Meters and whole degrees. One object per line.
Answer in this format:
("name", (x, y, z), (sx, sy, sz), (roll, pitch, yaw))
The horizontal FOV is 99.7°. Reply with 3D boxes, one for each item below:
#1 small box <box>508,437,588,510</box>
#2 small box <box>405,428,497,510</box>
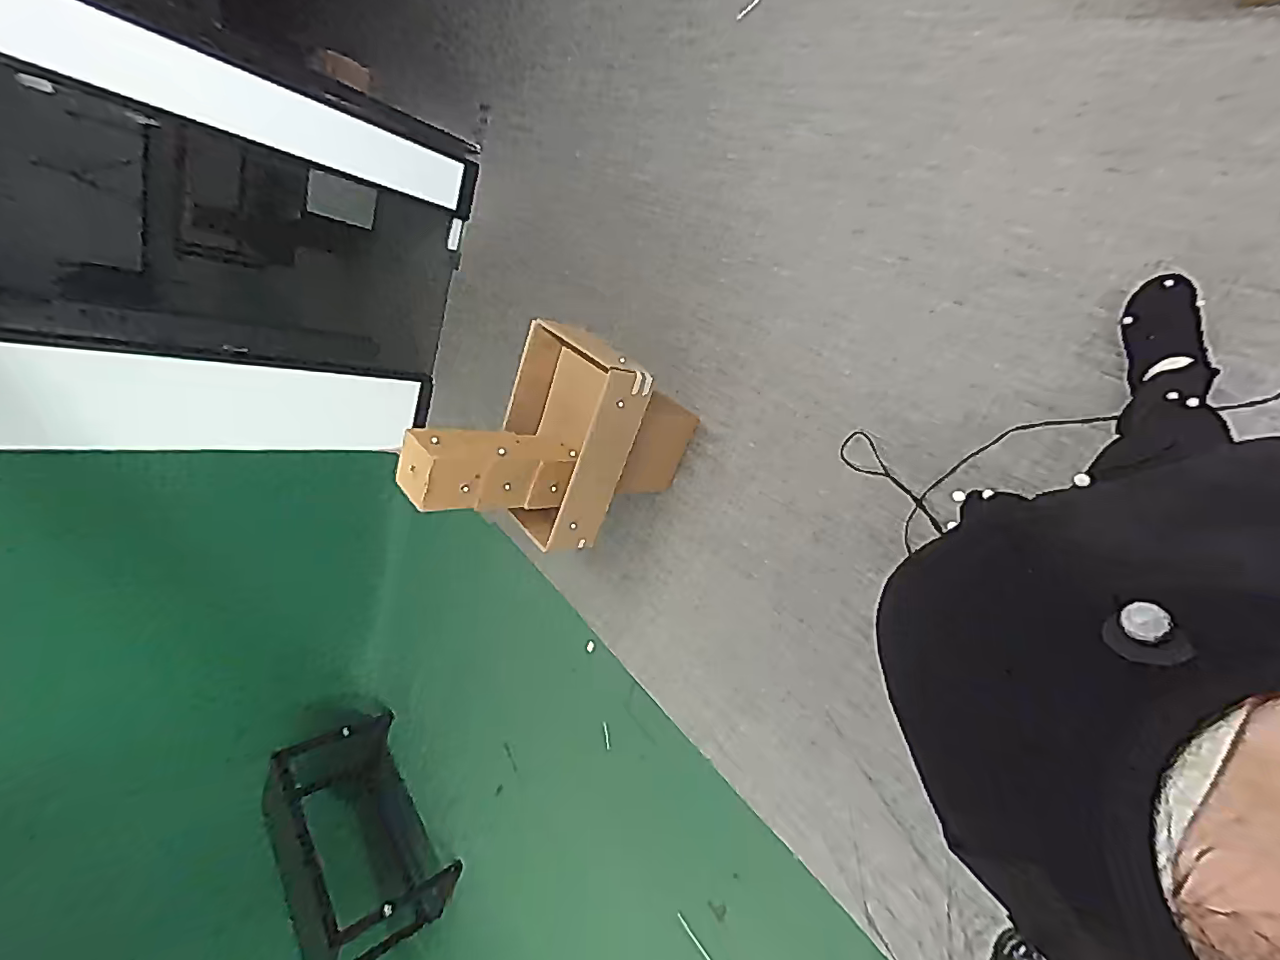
("small box", (-0.289, -0.023, 1.733), (0.168, 0.176, 0.179), (41, 118, 36))
("small box", (-0.528, -0.031, 1.510), (0.179, 0.176, 0.168), (37, 116, 37))
